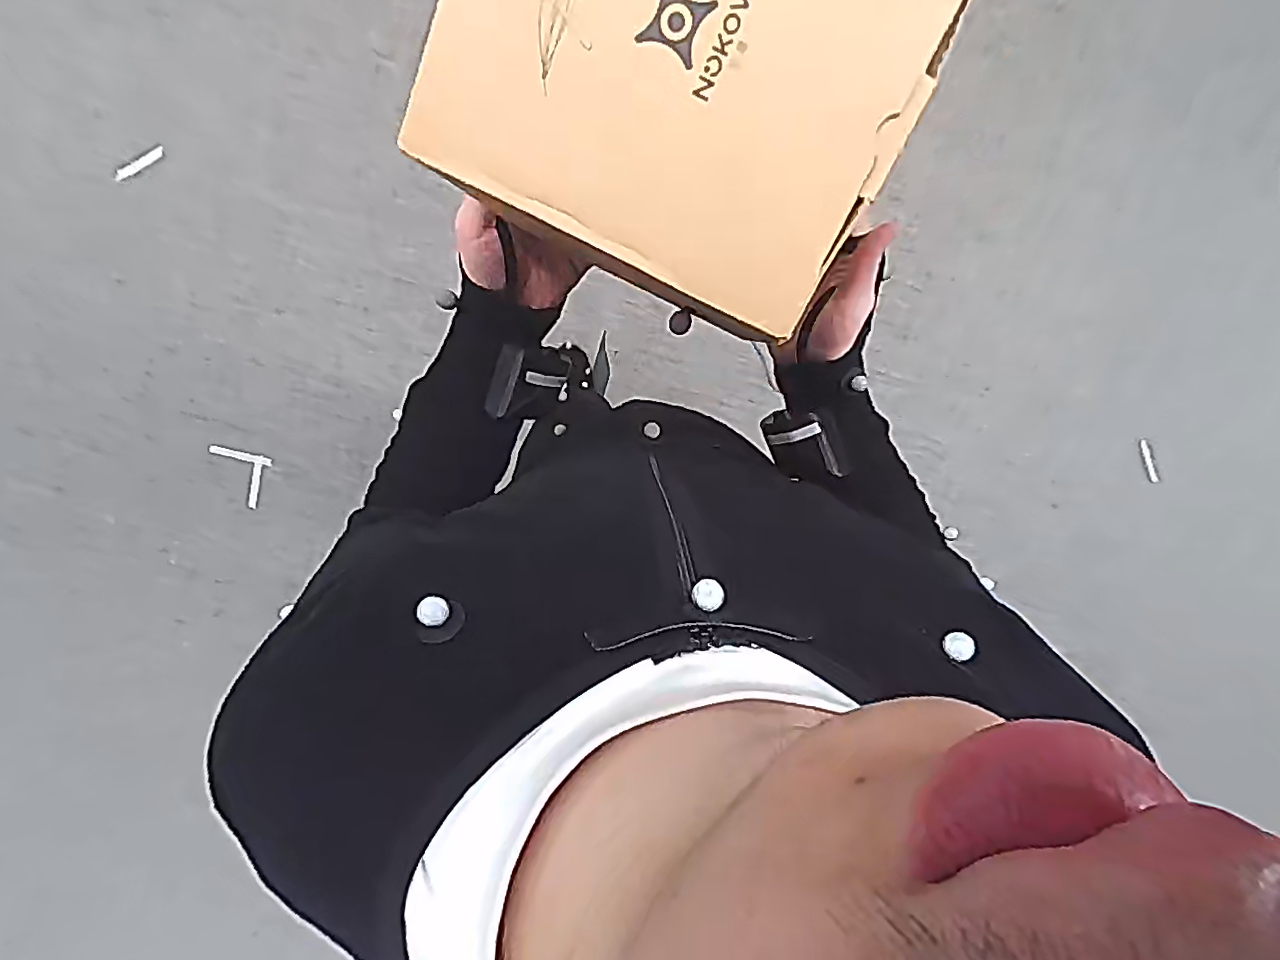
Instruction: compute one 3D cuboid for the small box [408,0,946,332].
[{"bbox_3d":[0.019,-0.191,0.286,0.179,0.176,0.168,24,104,-2],"label":"small box"}]
